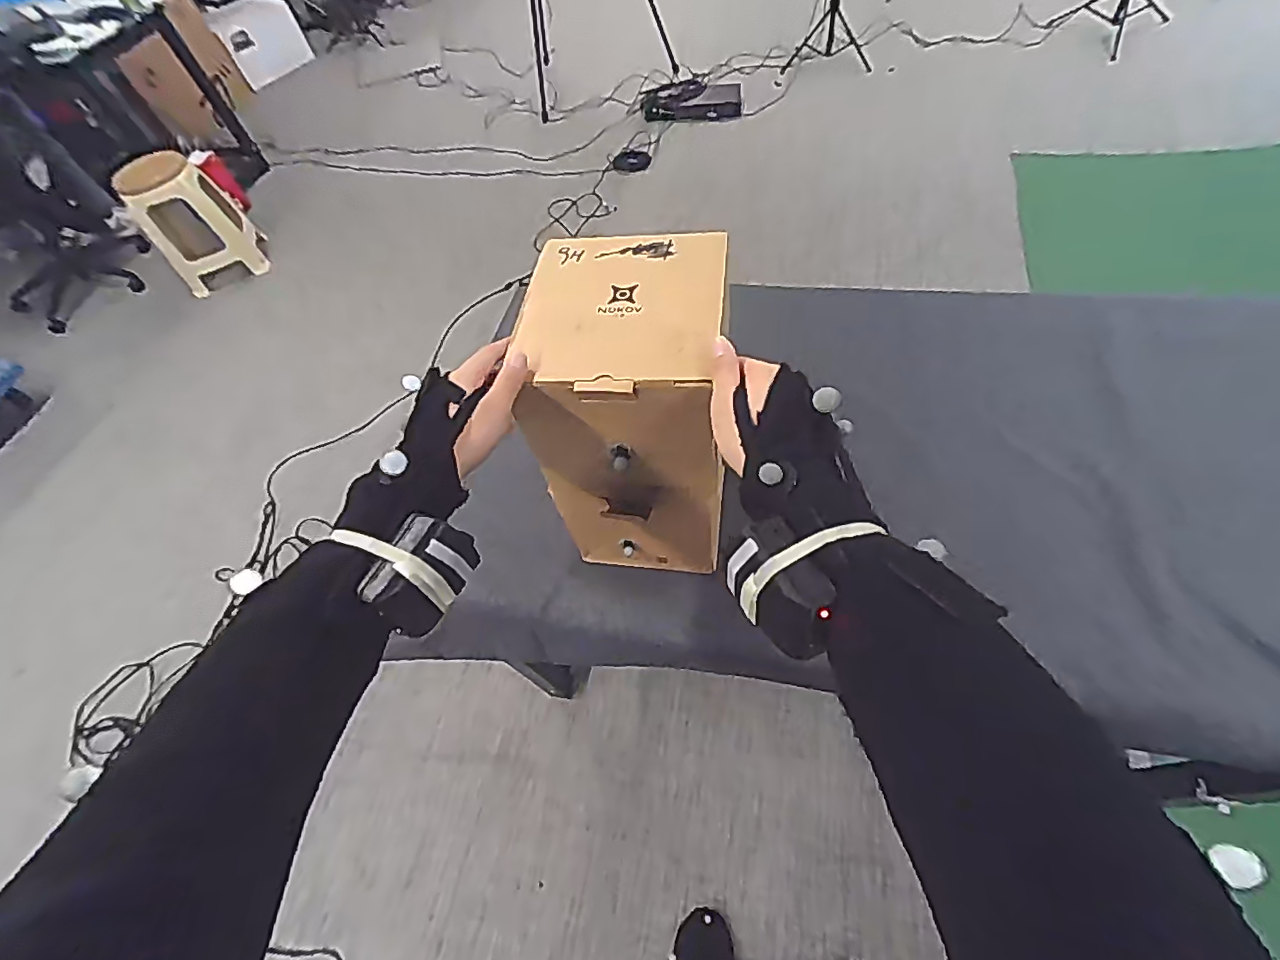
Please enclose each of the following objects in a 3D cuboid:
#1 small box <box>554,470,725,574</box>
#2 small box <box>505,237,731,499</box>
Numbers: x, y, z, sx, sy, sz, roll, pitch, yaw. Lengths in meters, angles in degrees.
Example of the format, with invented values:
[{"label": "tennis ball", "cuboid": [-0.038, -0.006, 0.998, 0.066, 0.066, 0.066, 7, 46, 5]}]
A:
[{"label": "small box", "cuboid": [0.014, -0.009, 0.641, 0.168, 0.176, 0.179, 3, 58, 11]}, {"label": "small box", "cuboid": [-0.002, -0.095, 0.504, 0.168, 0.176, 0.179, 2, 58, 10]}]
